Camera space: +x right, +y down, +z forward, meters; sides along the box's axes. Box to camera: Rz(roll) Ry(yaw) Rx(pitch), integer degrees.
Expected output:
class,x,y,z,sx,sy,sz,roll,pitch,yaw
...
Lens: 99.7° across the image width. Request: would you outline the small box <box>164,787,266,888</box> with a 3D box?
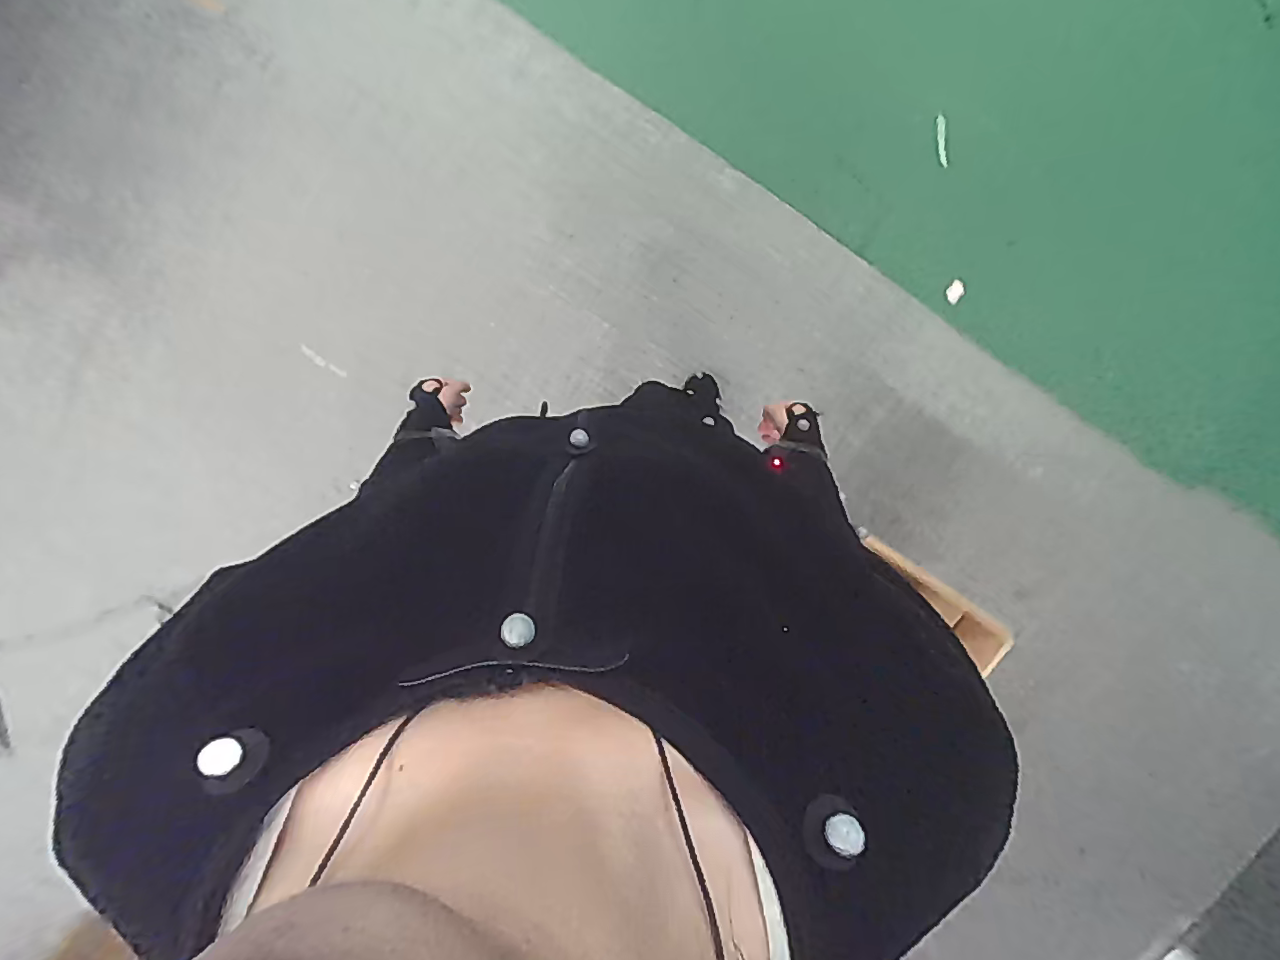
class,x,y,z,sx,sy,sz,roll,pitch,yaw
small box,-1.253,1.045,1.582,0.179,0.176,0.168,32,97,-5
